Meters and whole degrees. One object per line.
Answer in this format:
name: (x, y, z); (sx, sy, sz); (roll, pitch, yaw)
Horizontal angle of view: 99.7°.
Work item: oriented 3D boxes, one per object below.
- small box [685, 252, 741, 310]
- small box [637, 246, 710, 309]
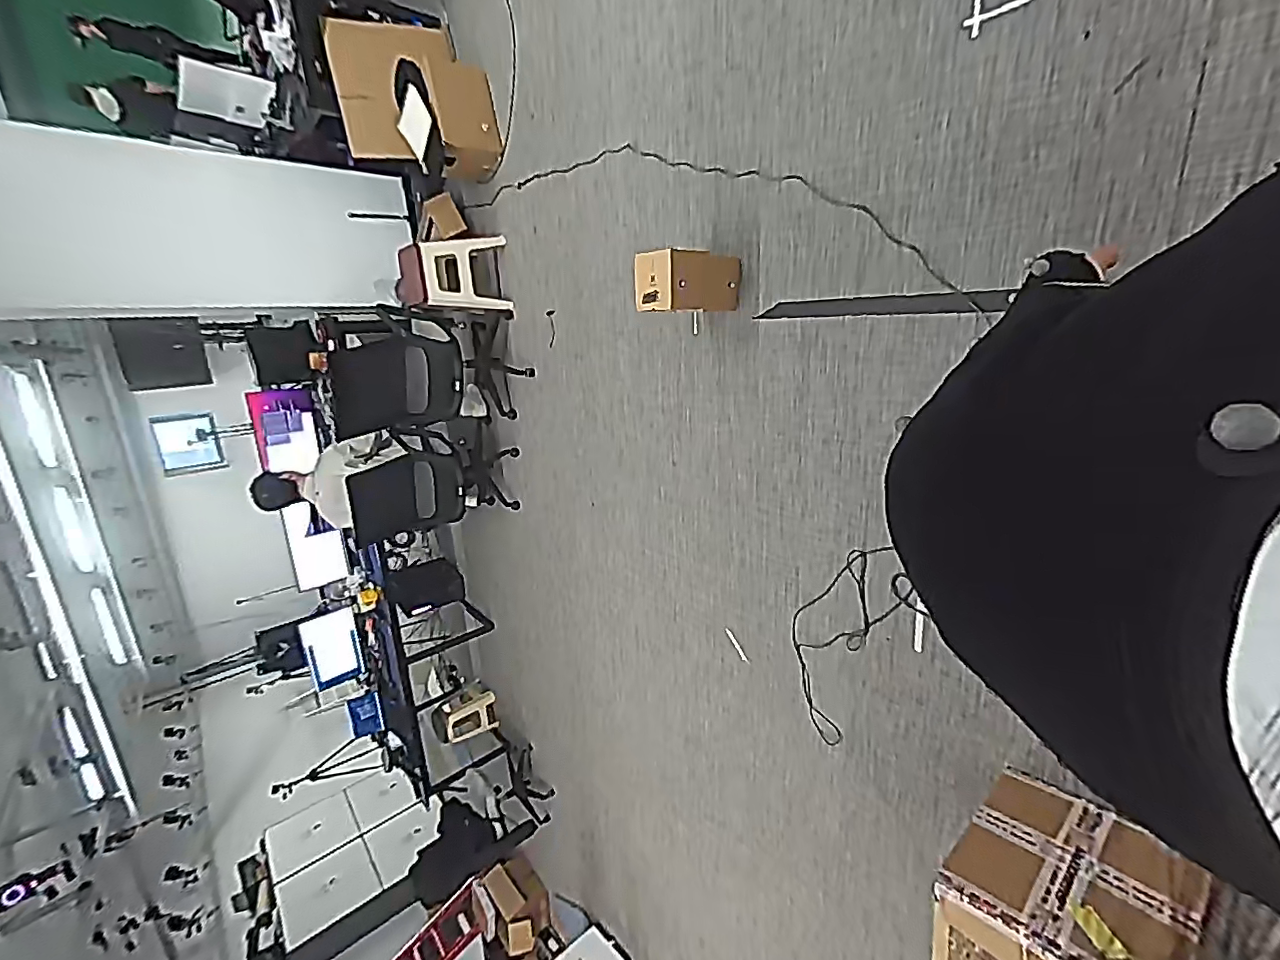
small box: (0.224, -0.676, 1.838); (0.168, 0.176, 0.179); (24, 119, 44)
small box: (0.109, -0.642, 1.723); (0.168, 0.176, 0.179); (17, 115, 47)
